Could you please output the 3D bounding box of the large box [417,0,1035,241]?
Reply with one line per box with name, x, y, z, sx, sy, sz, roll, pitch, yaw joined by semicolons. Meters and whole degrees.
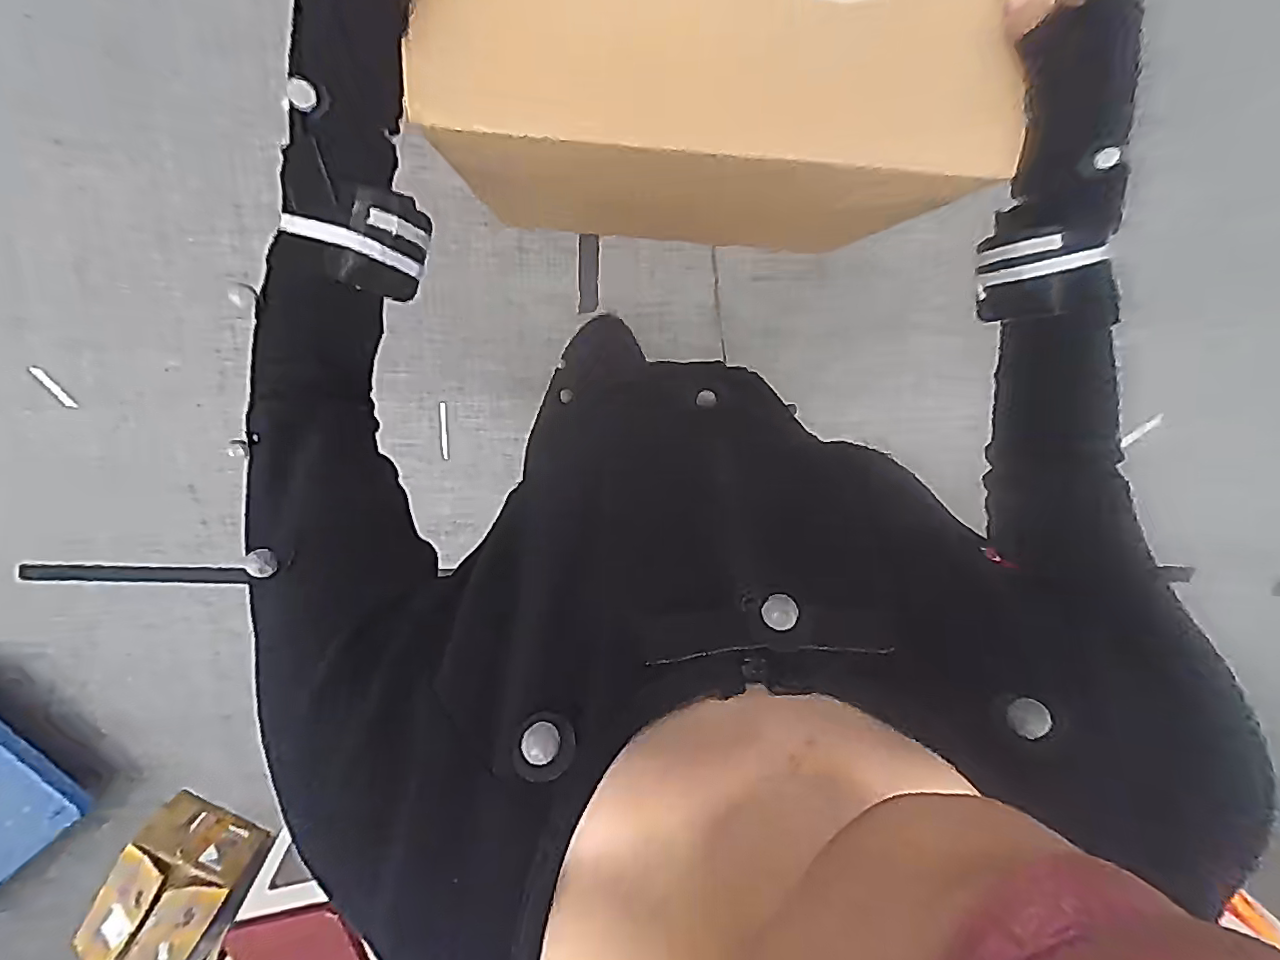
large box;0.051;-0.408;0.469;0.408;0.320;0.320;2;104;-5
